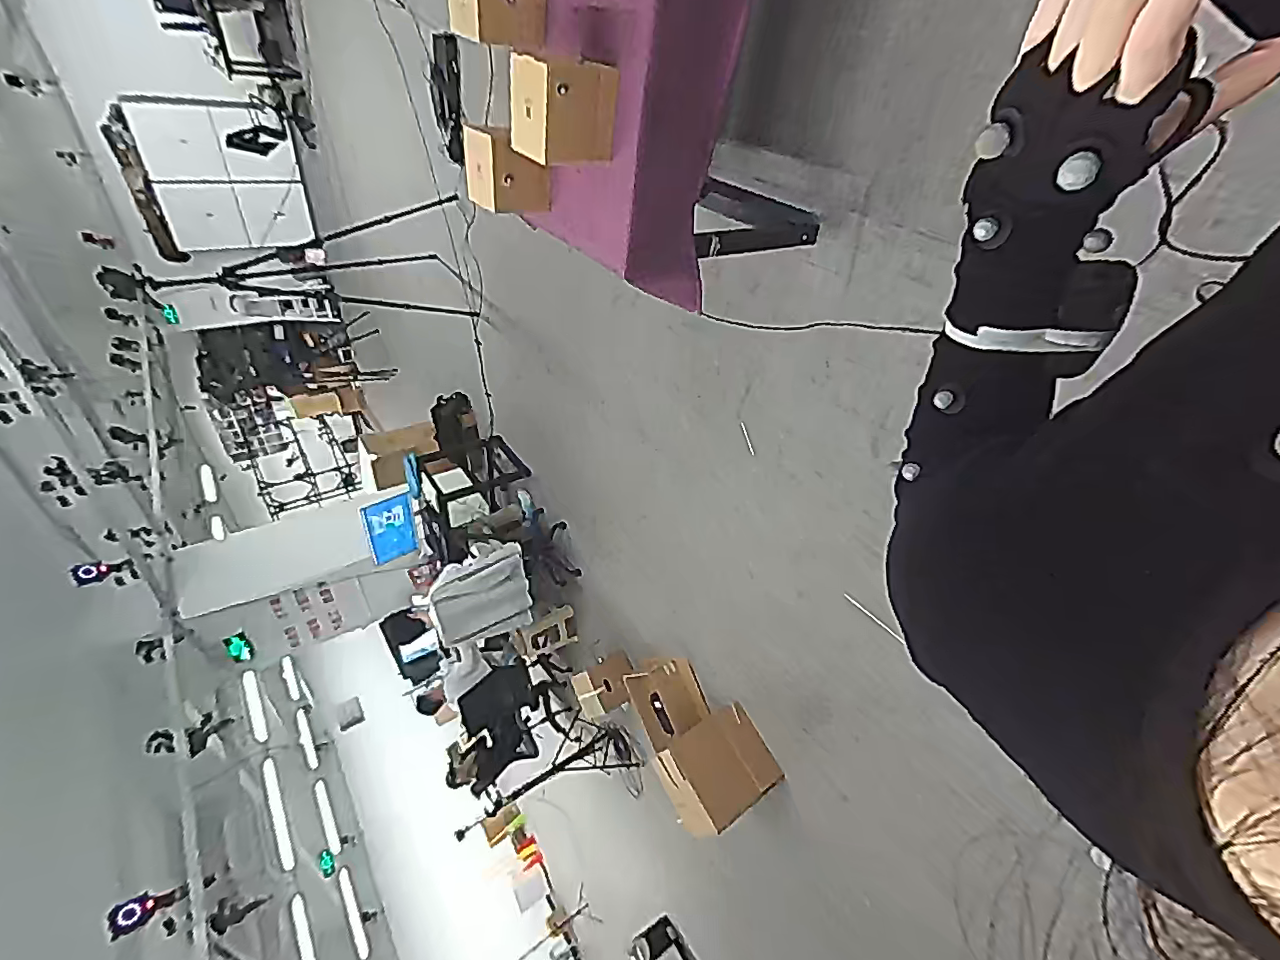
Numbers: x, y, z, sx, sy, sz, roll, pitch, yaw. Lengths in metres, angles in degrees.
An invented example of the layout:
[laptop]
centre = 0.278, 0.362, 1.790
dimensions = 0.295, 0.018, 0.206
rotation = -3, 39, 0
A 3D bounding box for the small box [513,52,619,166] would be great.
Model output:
[small box]
centre = -0.162, -0.796, 1.169
dimensions = 0.168, 0.176, 0.179
rotation = 46, 140, 34
